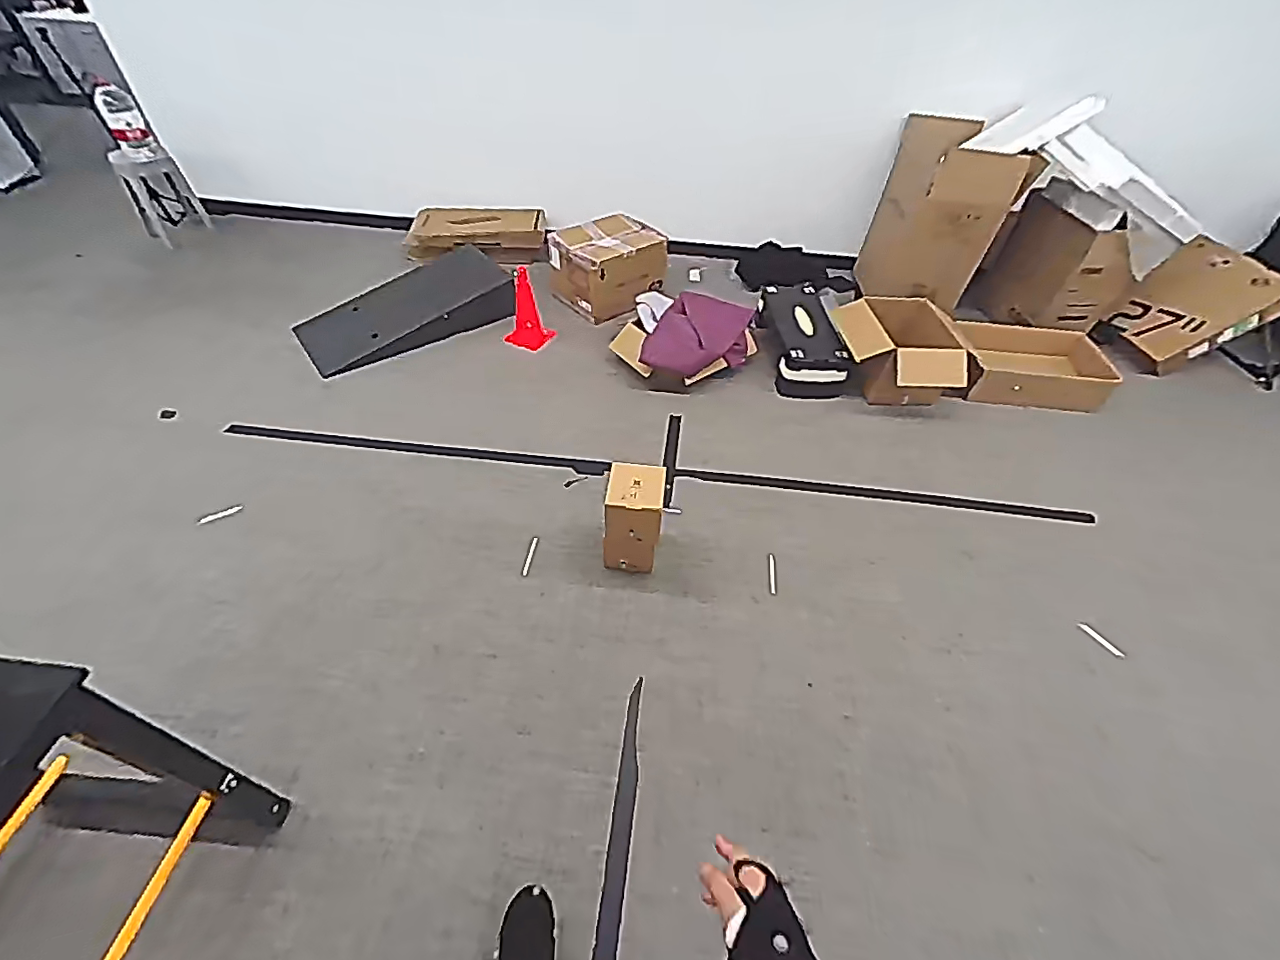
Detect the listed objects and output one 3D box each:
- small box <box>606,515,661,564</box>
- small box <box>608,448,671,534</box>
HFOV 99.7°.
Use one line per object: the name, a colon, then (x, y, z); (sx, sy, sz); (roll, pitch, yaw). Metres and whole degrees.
small box: (-0.016, 0.138, 1.689); (0.168, 0.176, 0.179); (5, 48, 2)
small box: (-0.002, 0.032, 1.562); (0.168, 0.176, 0.179); (5, 47, 3)
